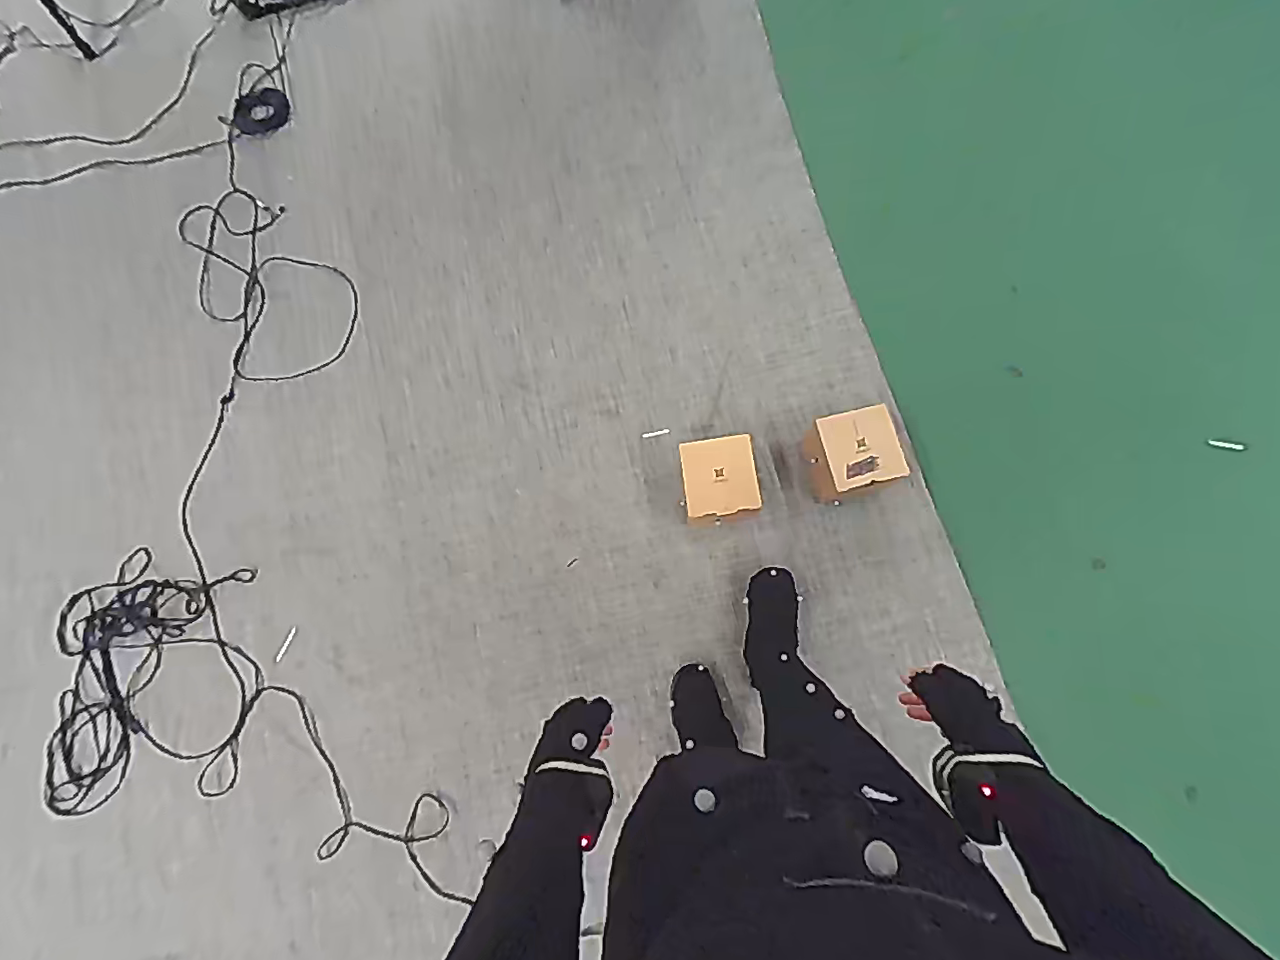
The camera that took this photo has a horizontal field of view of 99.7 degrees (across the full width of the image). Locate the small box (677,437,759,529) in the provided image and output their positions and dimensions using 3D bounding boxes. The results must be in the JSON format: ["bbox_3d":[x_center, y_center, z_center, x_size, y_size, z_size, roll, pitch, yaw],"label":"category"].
[{"bbox_3d":[0.180,0.012,1.299,0.168,0.176,0.179,-8,78,2],"label":"small box"}]

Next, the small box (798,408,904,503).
[{"bbox_3d":[0.493,-0.049,1.288,0.168,0.176,0.179,-13,76,1],"label":"small box"}]
